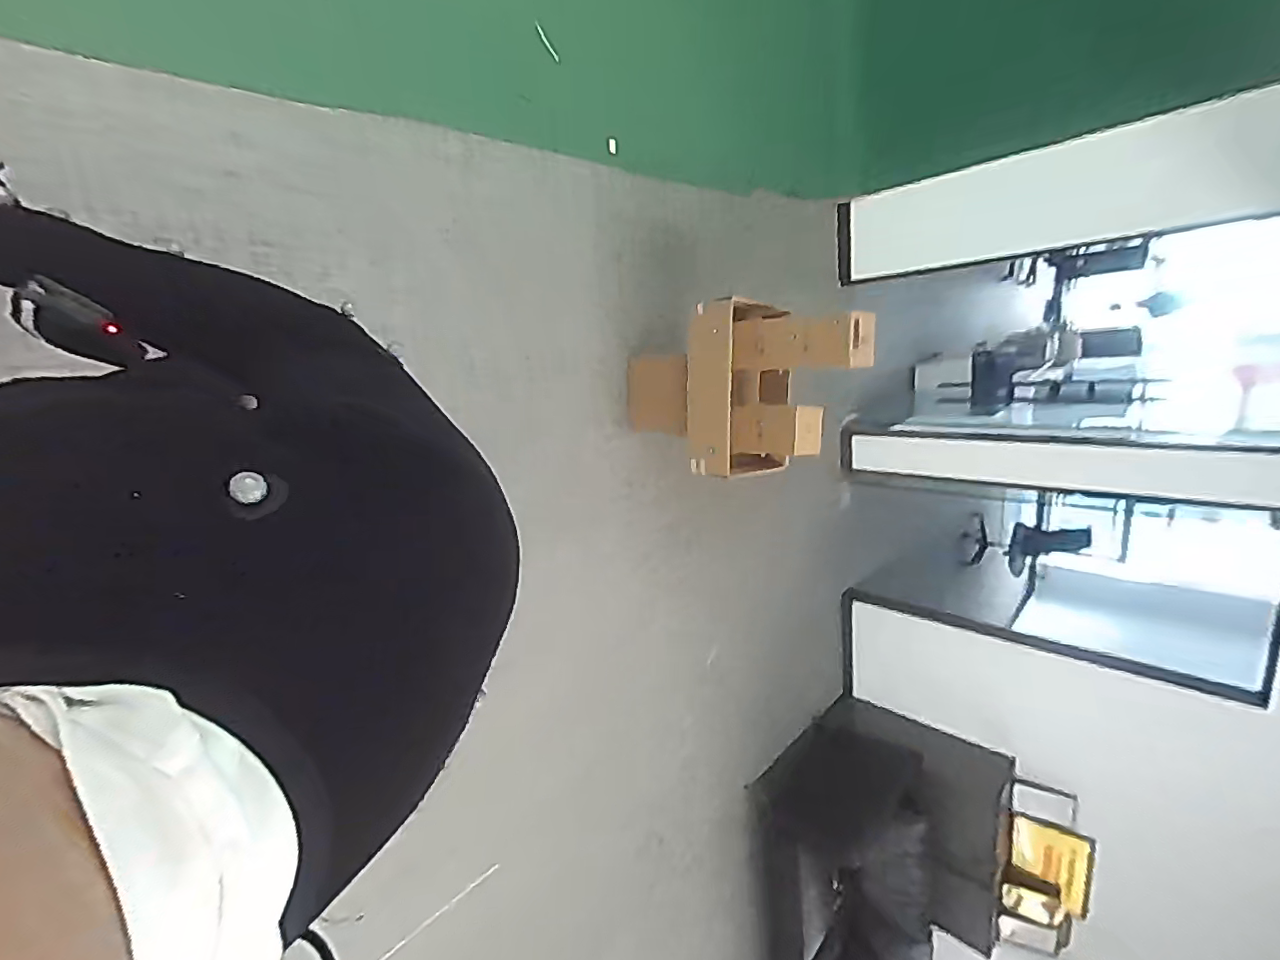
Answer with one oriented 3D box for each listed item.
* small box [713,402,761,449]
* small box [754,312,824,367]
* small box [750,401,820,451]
[{"bbox_3d":[0.396,-0.202,2.014,0.179,0.176,0.168,-3,98,-44],"label":"small box"},{"bbox_3d":[0.511,-0.479,1.855,0.179,0.176,0.168,-13,105,-43],"label":"small box"},{"bbox_3d":[0.510,-0.190,1.898,0.179,0.176,0.168,-5,99,-44],"label":"small box"}]
